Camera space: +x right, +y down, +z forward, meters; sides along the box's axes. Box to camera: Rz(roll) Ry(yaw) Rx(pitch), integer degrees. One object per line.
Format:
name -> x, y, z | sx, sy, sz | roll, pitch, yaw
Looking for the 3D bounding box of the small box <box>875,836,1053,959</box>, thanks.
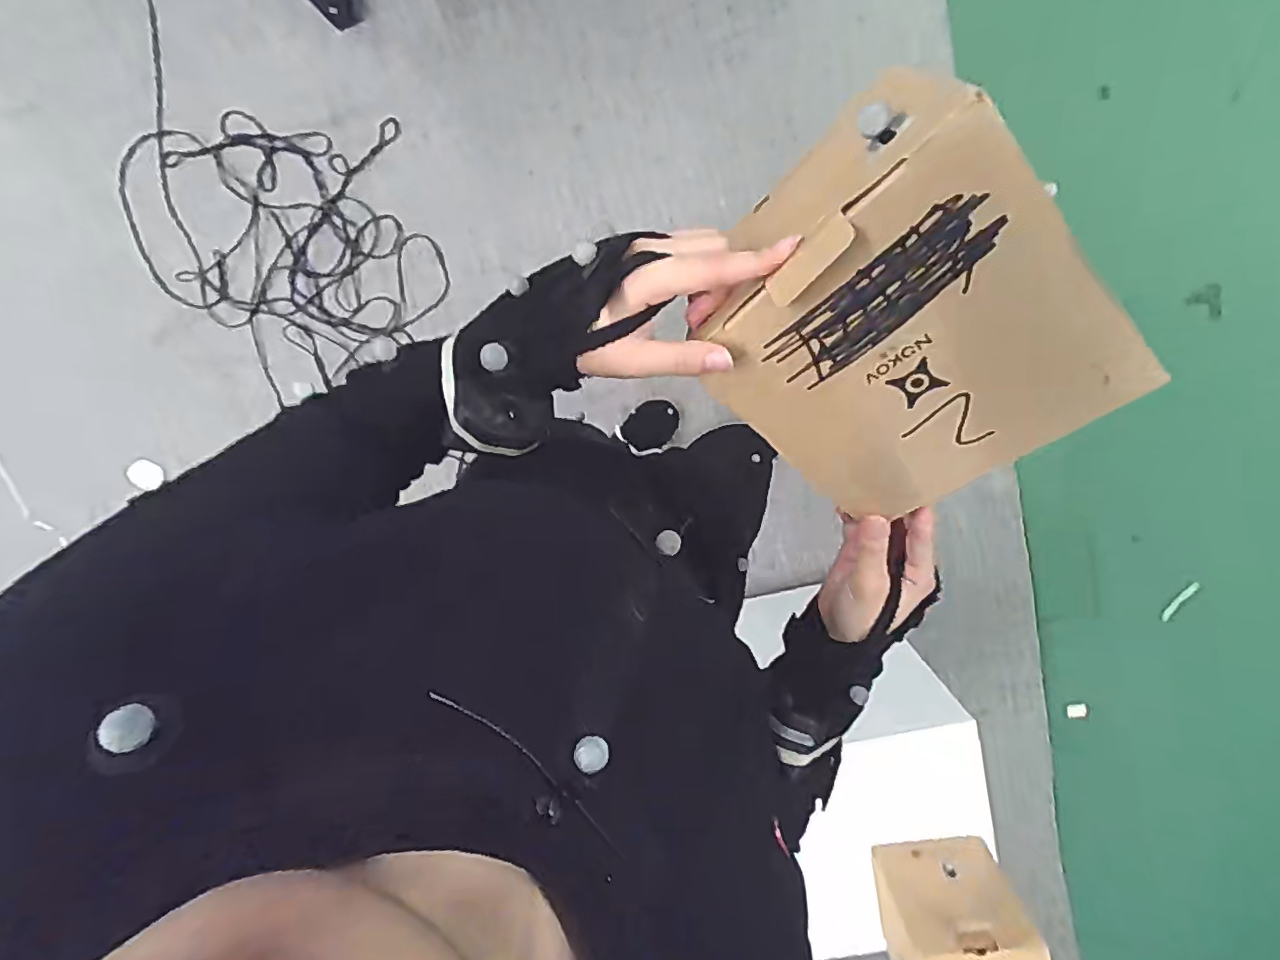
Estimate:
small box -> 0.456, 0.658, 0.777 | 0.168, 0.176, 0.179 | -10, 100, 6
